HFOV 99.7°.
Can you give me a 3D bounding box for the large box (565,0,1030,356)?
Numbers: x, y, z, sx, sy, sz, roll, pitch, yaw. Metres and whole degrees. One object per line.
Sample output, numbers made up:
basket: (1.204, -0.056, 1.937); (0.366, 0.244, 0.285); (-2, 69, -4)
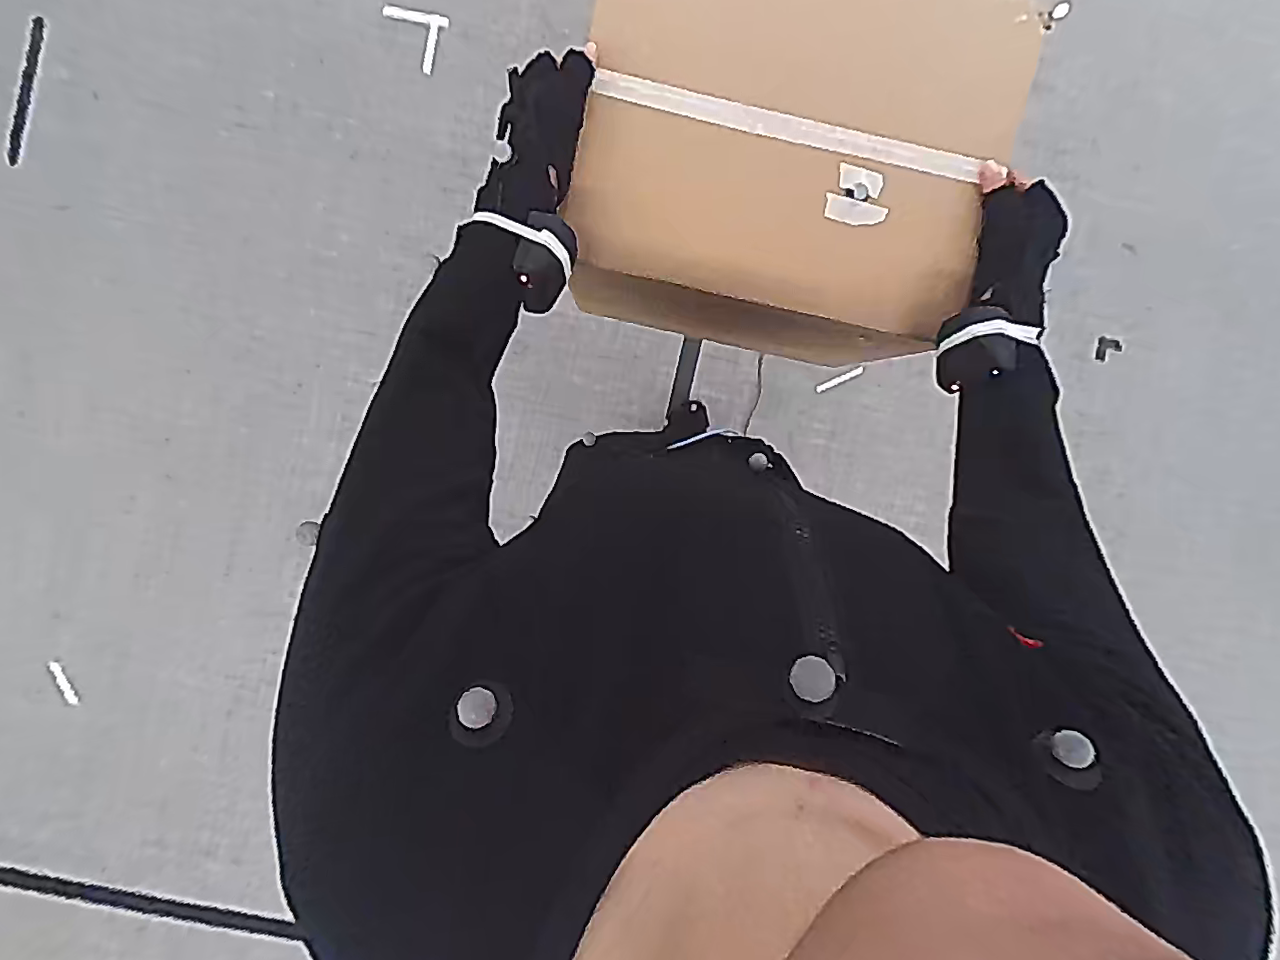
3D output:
large box: (0.139, -0.354, 0.659); (0.408, 0.320, 0.320); (11, 98, -4)
